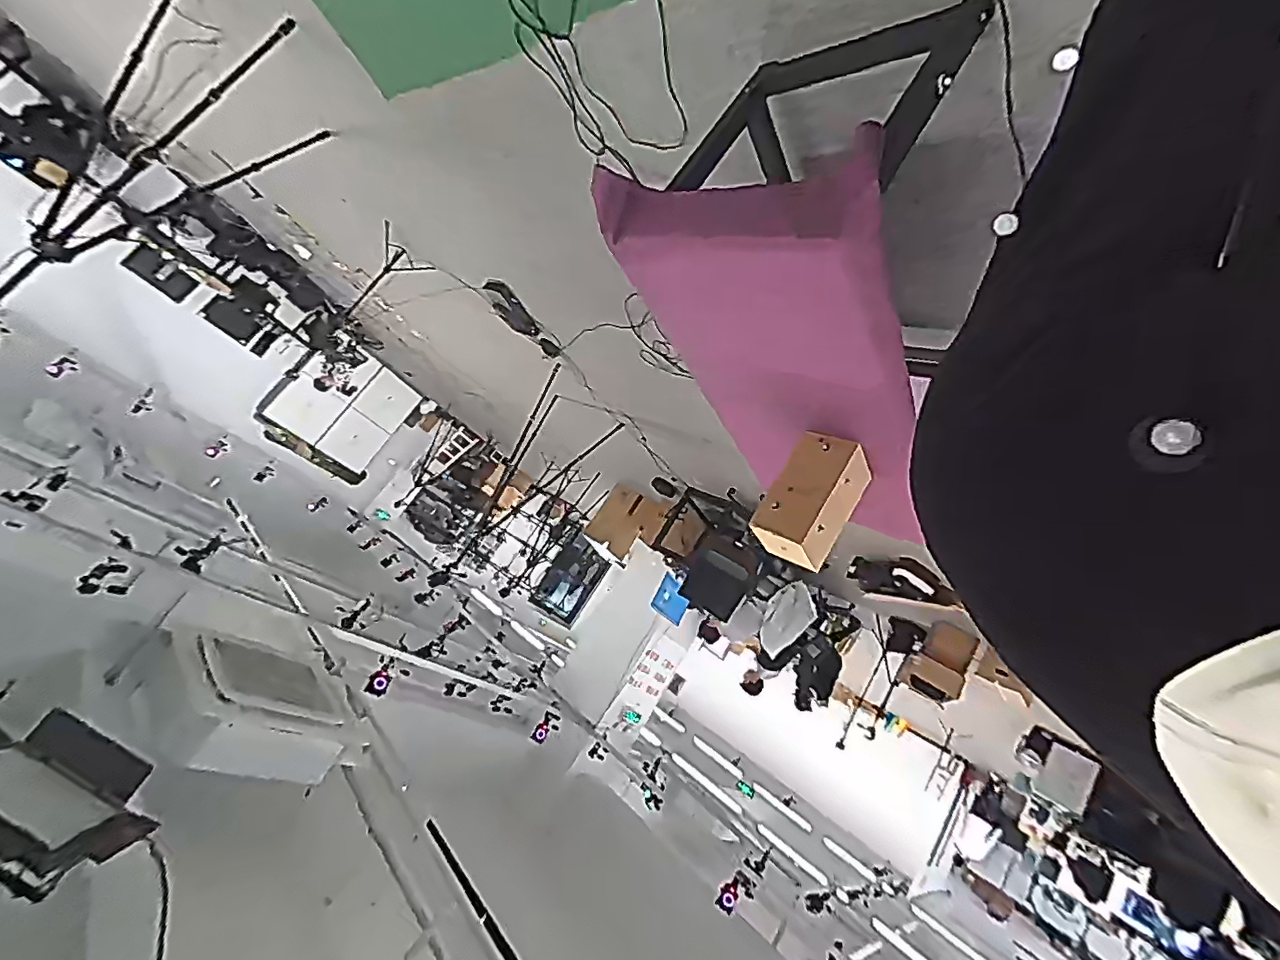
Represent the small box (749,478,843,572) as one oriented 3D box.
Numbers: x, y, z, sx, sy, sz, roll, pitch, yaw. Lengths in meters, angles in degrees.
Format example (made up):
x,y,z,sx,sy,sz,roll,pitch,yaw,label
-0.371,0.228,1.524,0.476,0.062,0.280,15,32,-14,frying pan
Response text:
x,y,z,sx,sy,sz,roll,pitch,yaw,label
0.434,0.119,1.489,0.168,0.176,0.179,22,162,42,small box
